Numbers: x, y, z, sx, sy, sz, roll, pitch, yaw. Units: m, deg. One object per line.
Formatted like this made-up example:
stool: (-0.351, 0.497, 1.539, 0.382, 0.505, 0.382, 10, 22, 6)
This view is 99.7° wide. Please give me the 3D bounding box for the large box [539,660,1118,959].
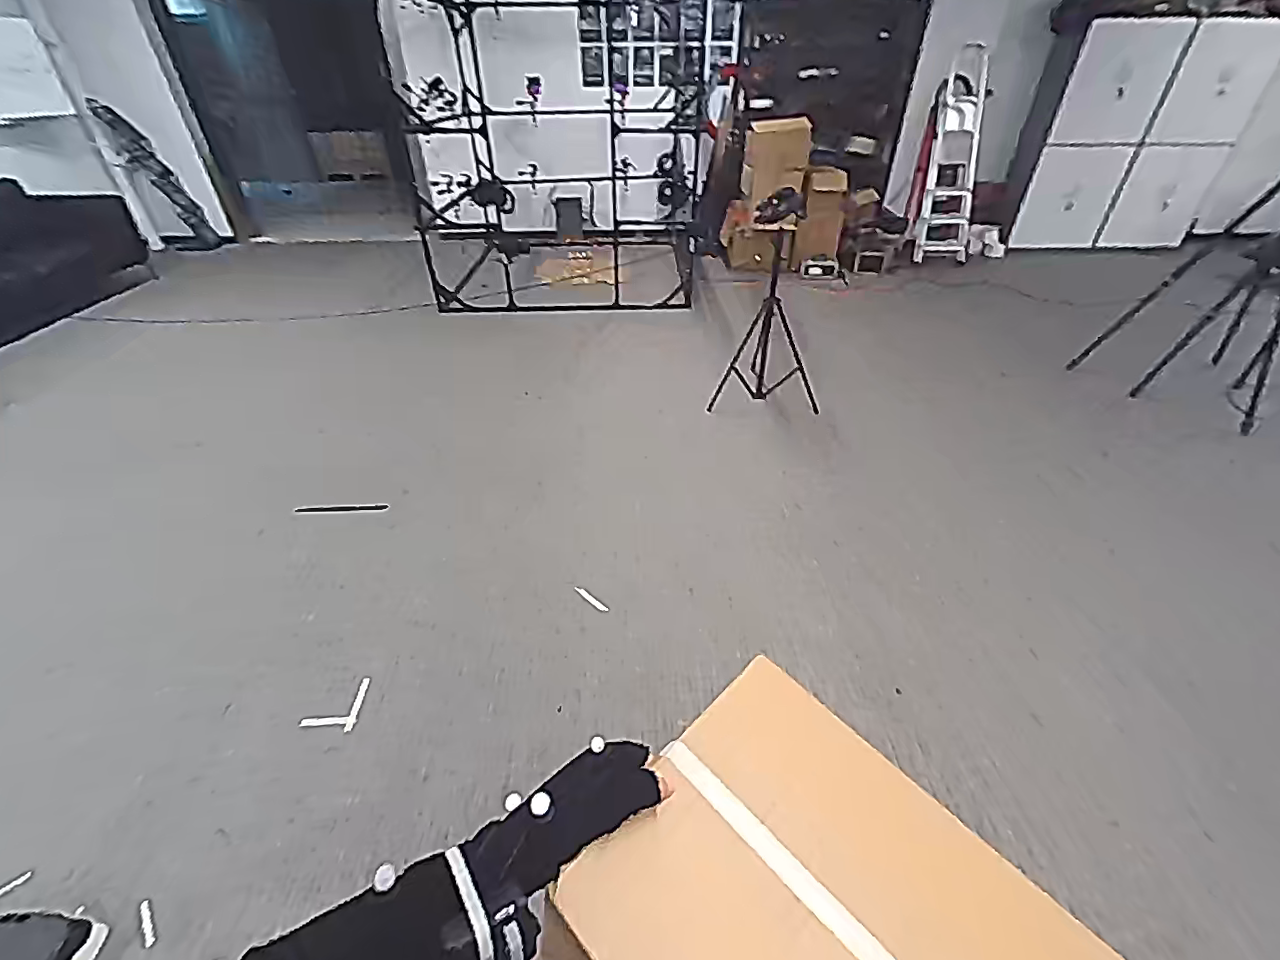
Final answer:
large box: (0.145, 0.479, 0.544, 0.408, 0.320, 0.320, 37, 47, 27)
